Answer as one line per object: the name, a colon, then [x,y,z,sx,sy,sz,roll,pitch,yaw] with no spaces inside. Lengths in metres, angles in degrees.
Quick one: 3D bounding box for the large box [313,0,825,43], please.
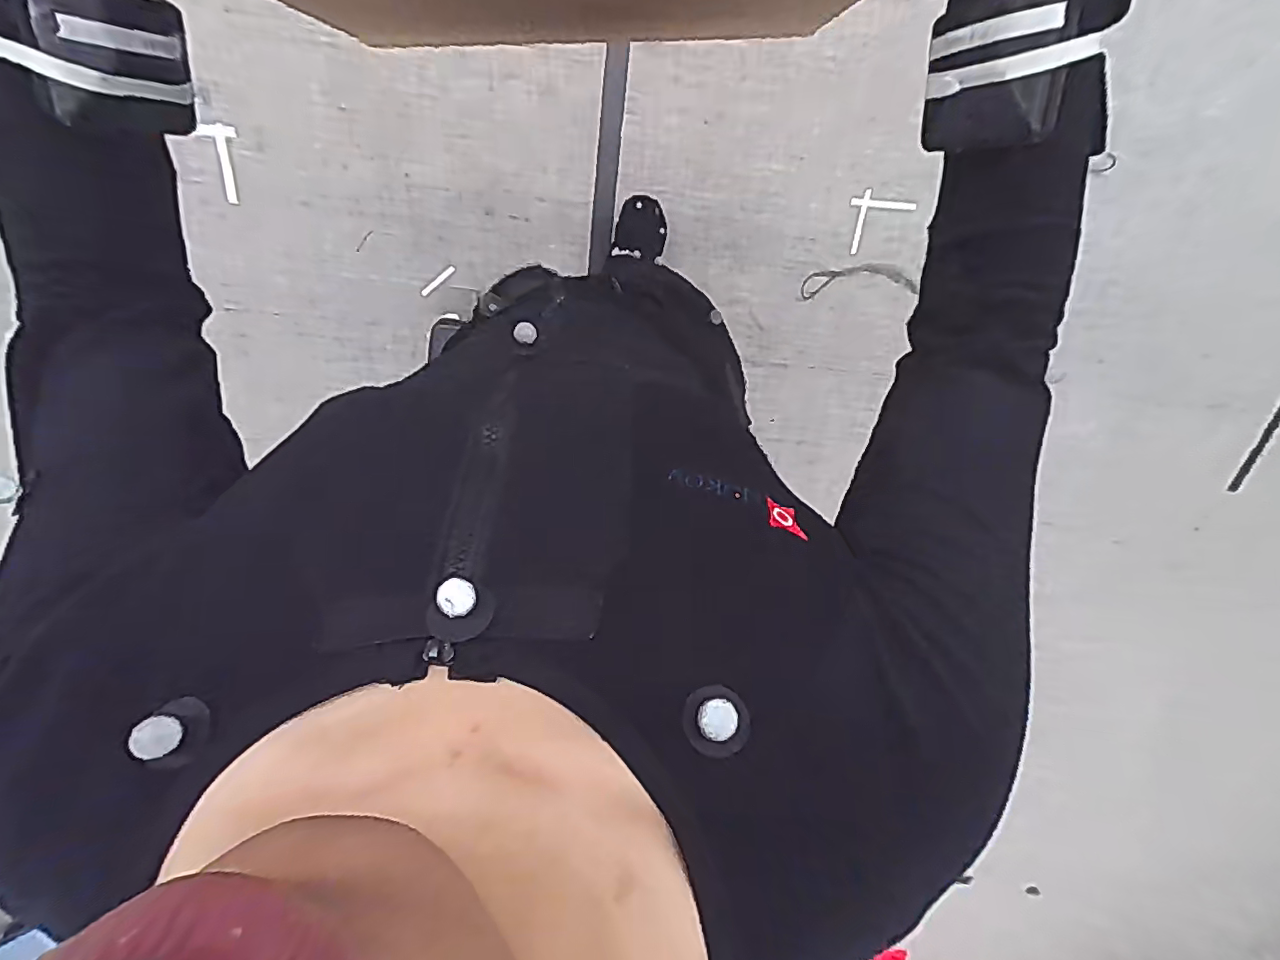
large box: [-0.044,-0.468,0.287,0.408,0.320,0.320,-3,120,-1]
